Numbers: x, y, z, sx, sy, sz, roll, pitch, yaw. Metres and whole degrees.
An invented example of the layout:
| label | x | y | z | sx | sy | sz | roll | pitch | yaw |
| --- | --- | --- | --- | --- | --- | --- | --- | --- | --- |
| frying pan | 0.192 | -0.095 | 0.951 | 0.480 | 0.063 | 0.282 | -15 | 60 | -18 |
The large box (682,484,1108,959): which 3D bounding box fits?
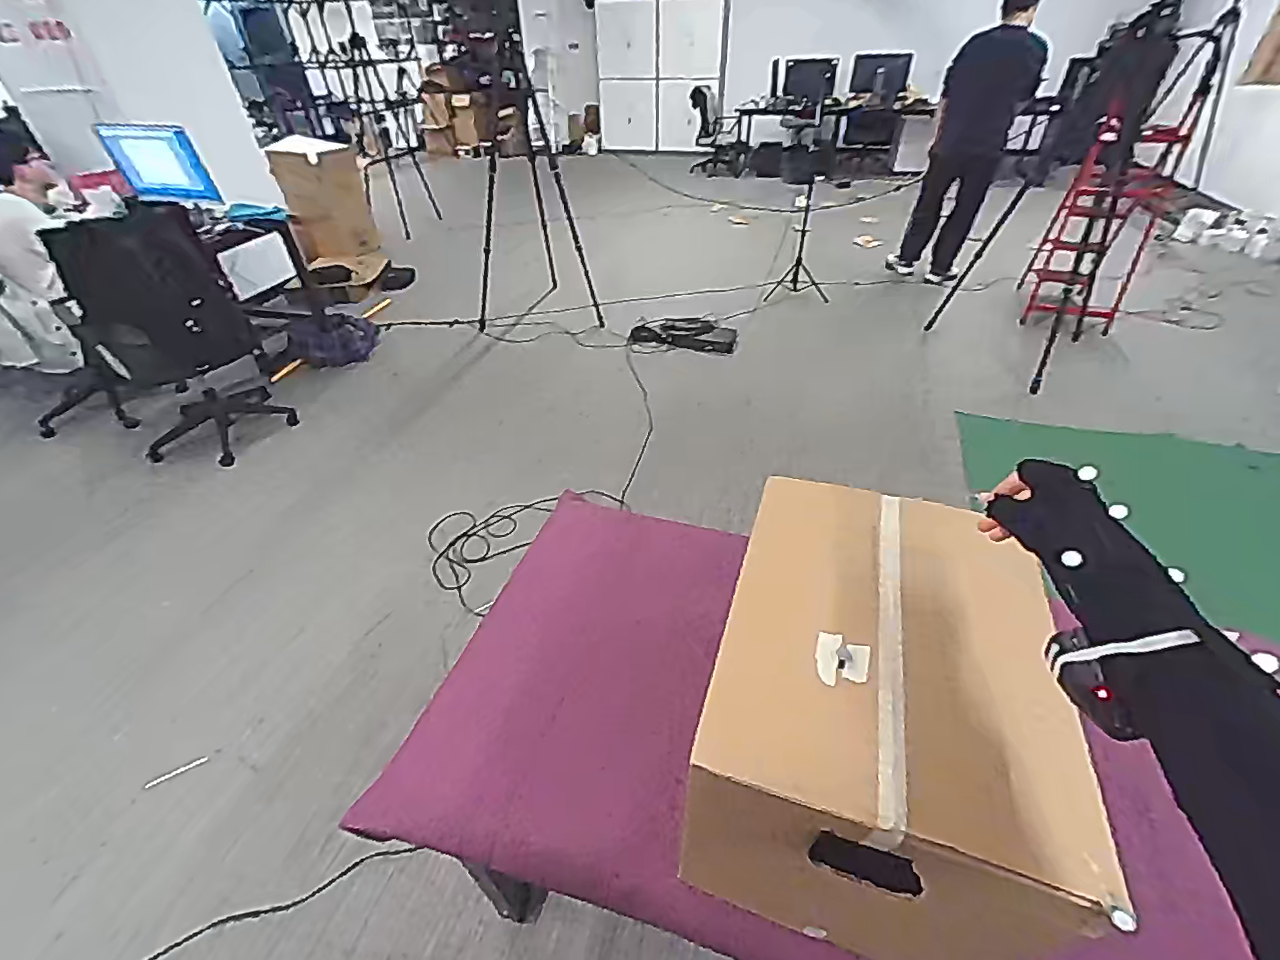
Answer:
| label | x | y | z | sx | sy | sz | roll | pitch | yaw |
| --- | --- | --- | --- | --- | --- | --- | --- | --- | --- |
| large box | 0.254 | 0.269 | 0.660 | 0.320 | 0.320 | 0.408 | 12 | 42 | 16 |
